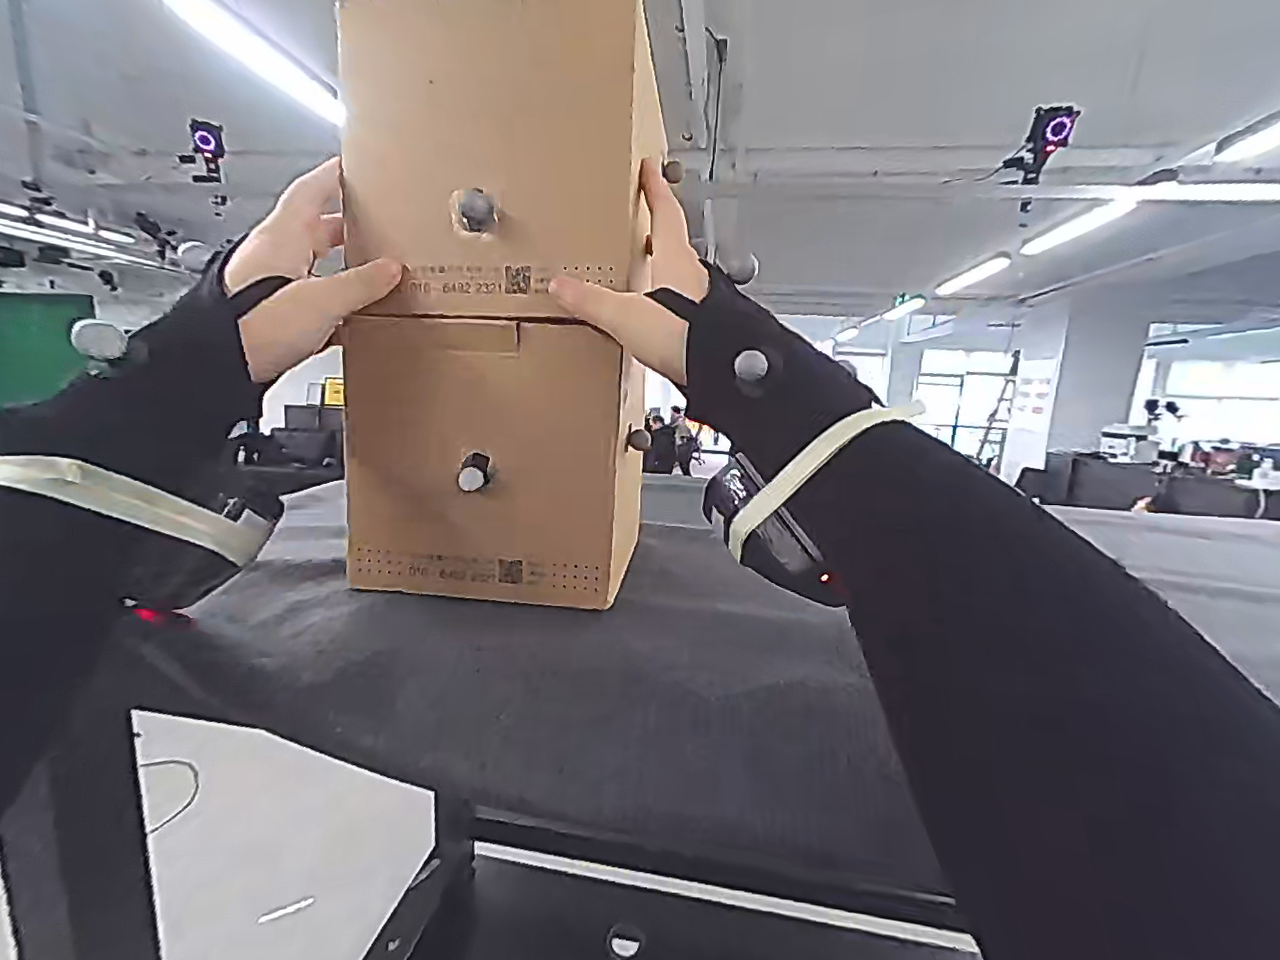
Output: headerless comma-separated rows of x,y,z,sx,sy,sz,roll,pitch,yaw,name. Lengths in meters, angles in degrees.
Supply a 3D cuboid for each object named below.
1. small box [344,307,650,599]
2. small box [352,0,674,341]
-0.083,-0.023,0.394,0.168,0.176,0.179,5,9,4,small box
-0.069,-0.186,0.370,0.168,0.176,0.179,3,8,7,small box
